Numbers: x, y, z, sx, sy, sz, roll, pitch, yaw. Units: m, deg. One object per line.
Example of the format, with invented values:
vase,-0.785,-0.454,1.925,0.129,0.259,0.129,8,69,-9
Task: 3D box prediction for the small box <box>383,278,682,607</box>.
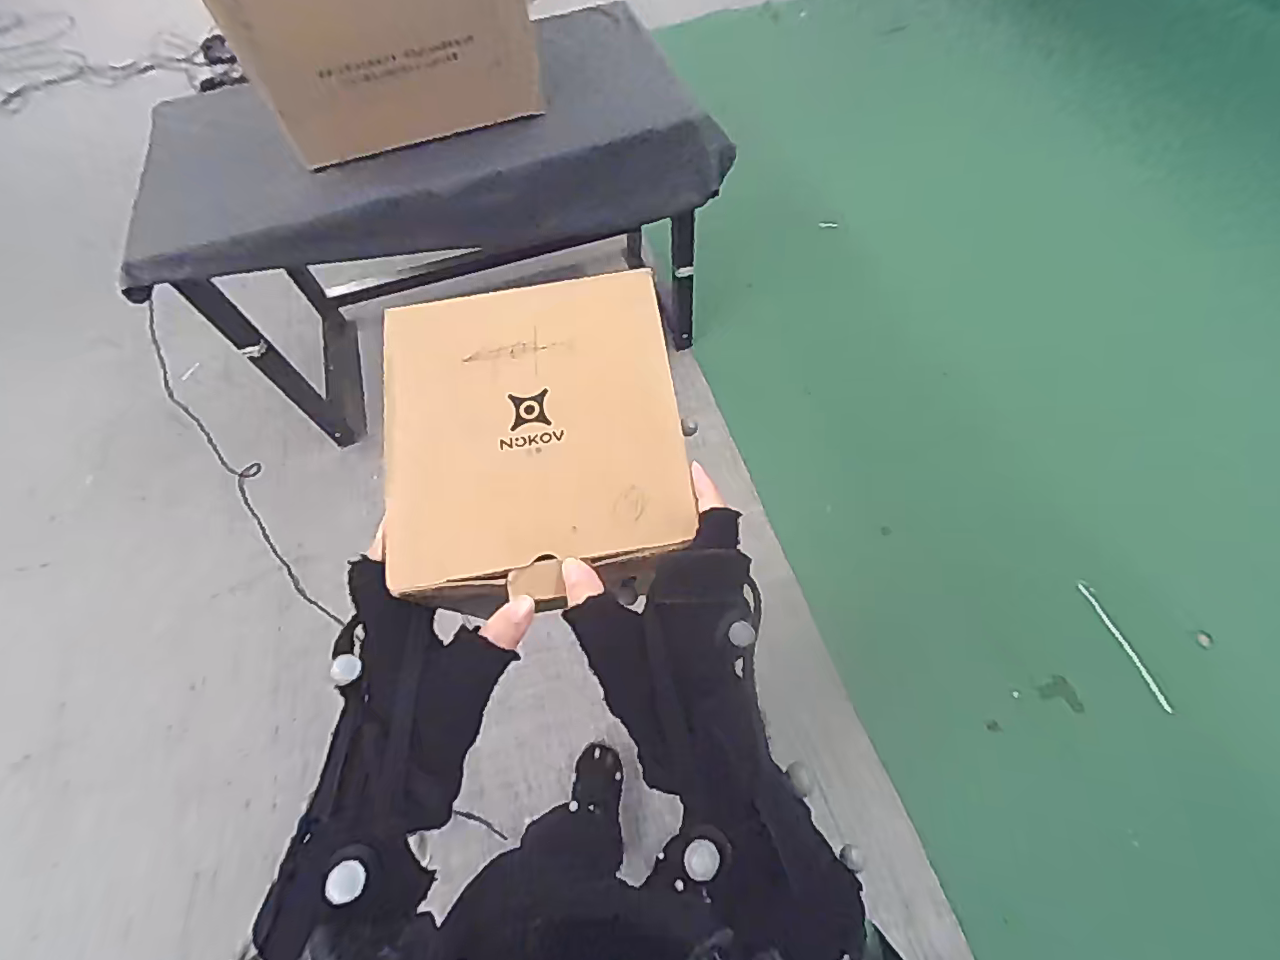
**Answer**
small box,-0.064,-0.010,0.390,0.168,0.176,0.179,-9,70,-1
